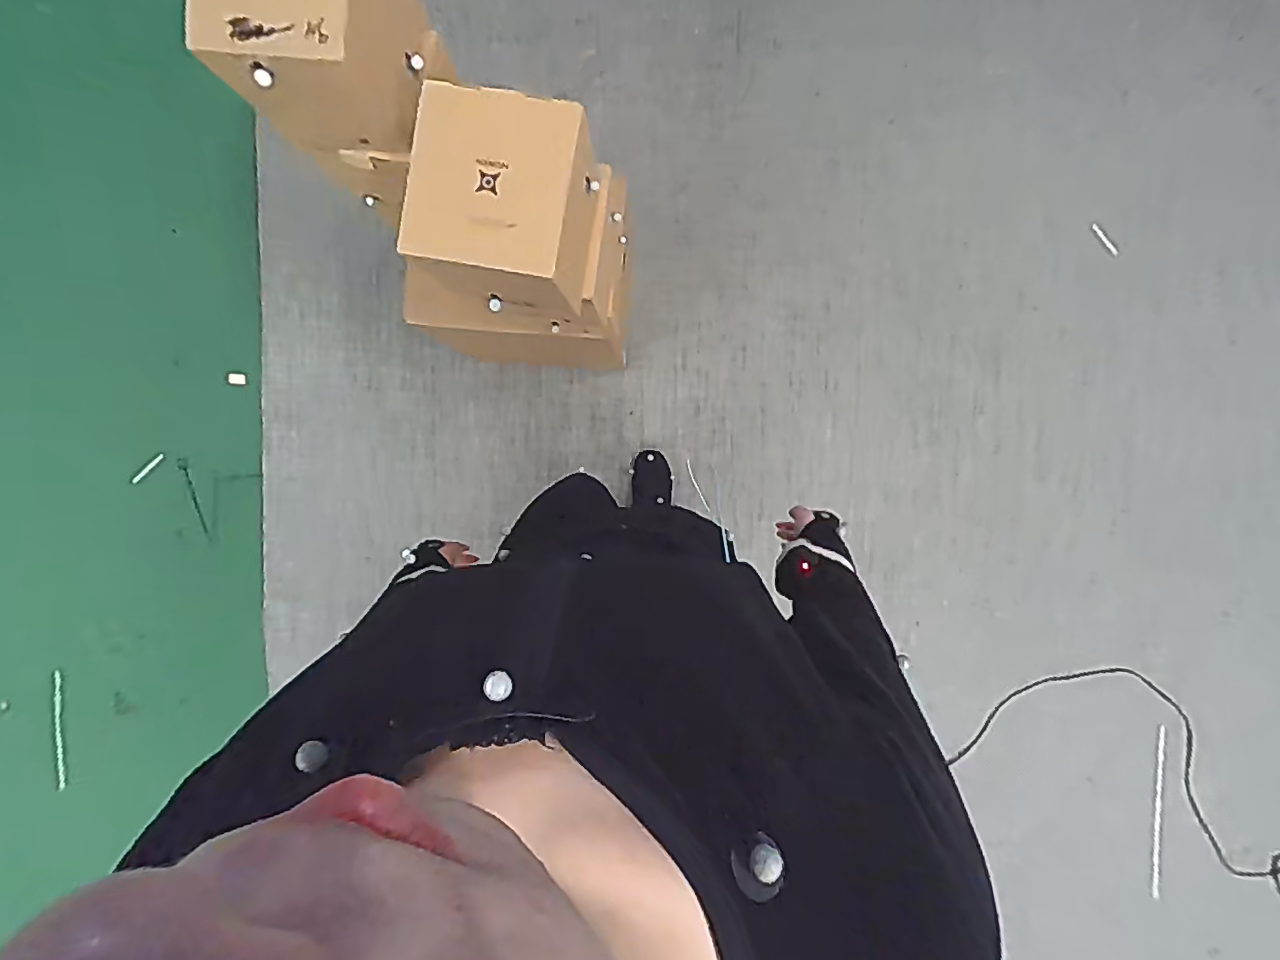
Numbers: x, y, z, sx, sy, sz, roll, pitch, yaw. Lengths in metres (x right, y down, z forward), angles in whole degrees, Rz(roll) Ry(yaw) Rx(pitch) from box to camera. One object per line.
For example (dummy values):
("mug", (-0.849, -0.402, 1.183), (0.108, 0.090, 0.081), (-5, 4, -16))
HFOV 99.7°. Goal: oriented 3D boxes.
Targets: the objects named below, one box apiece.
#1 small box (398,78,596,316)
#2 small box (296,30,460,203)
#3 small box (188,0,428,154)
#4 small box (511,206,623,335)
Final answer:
("small box", (-0.149, -0.308, 0.625), (0.168, 0.176, 0.179), (11, 94, 2))
("small box", (-0.352, -0.516, 0.786), (0.168, 0.176, 0.179), (13, 92, 1))
("small box", (-0.361, -0.516, 0.621), (0.168, 0.176, 0.179), (7, 92, 2))
("small box", (-0.120, -0.358, 0.948), (0.168, 0.176, 0.179), (3, 93, 2))
